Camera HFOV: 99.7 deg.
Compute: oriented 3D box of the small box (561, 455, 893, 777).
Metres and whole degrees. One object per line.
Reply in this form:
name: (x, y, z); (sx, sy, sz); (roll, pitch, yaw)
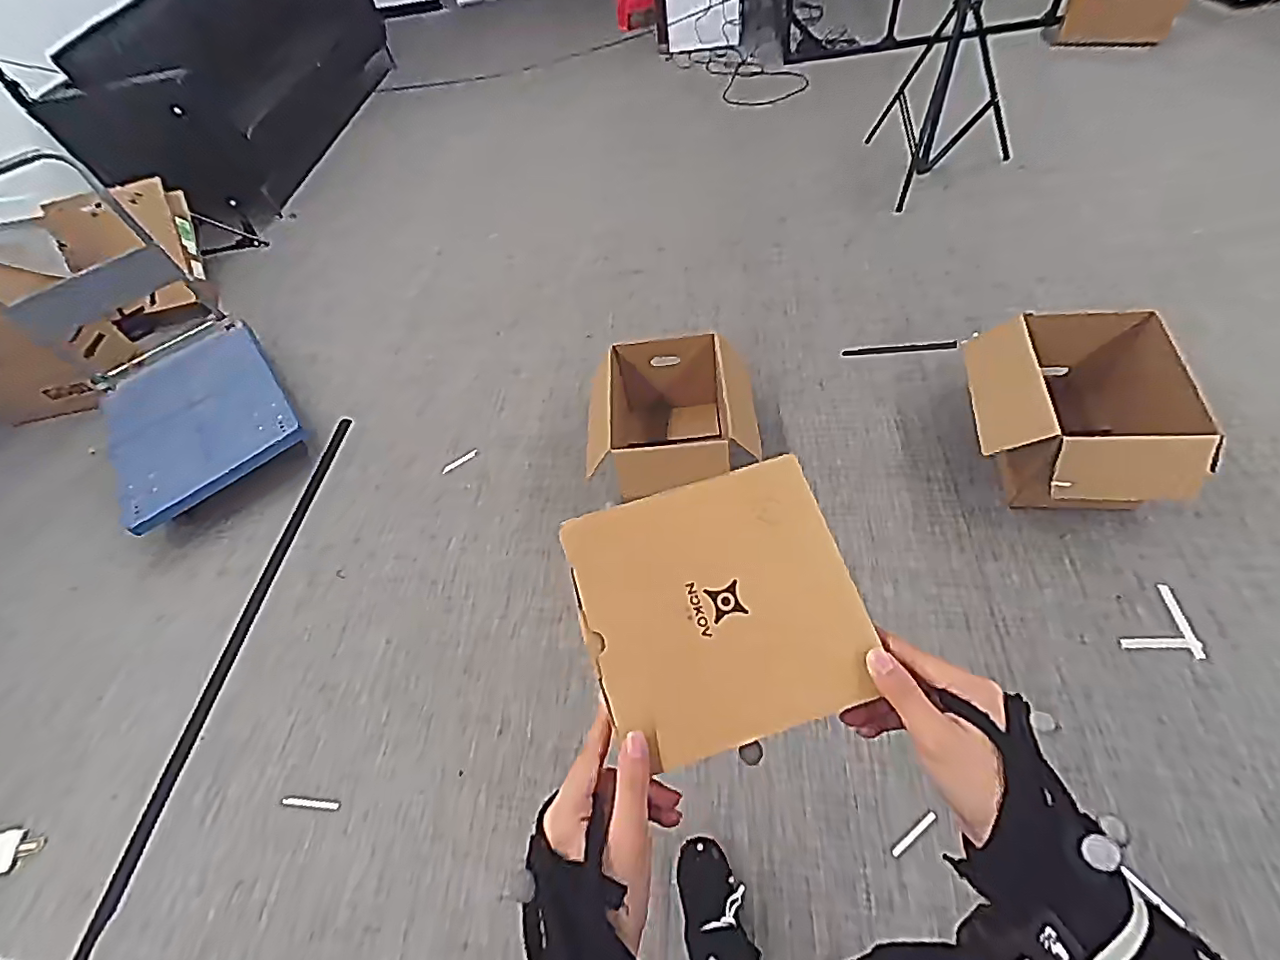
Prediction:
small box: (0.053, 0.105, 0.424); (0.179, 0.176, 0.168); (-18, 70, -3)
